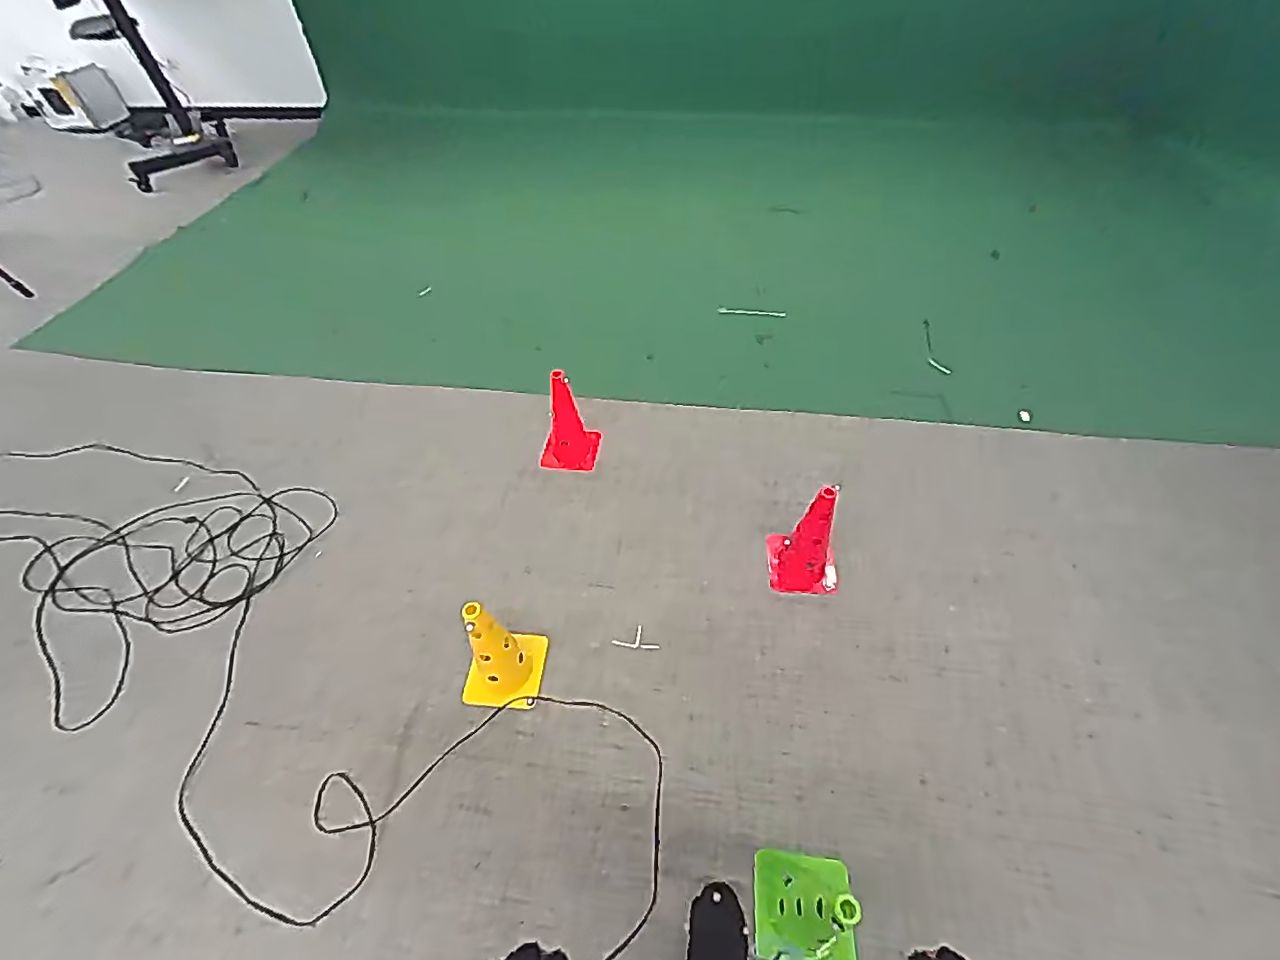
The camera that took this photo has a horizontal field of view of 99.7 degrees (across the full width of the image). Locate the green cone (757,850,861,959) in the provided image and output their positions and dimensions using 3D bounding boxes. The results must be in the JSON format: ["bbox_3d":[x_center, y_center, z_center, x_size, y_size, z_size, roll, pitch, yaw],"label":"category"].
[{"bbox_3d":[0.339,0.791,0.996,0.202,0.368,0.200,3,50,7],"label":"green cone"}]

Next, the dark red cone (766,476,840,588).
[{"bbox_3d":[0.483,0.130,1.507,0.202,0.394,0.201,0,49,3],"label":"dark red cone"}]

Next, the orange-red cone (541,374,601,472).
[{"bbox_3d":[-0.262,-0.214,1.858,0.198,0.360,0.199,4,52,7],"label":"orange-red cone"}]
